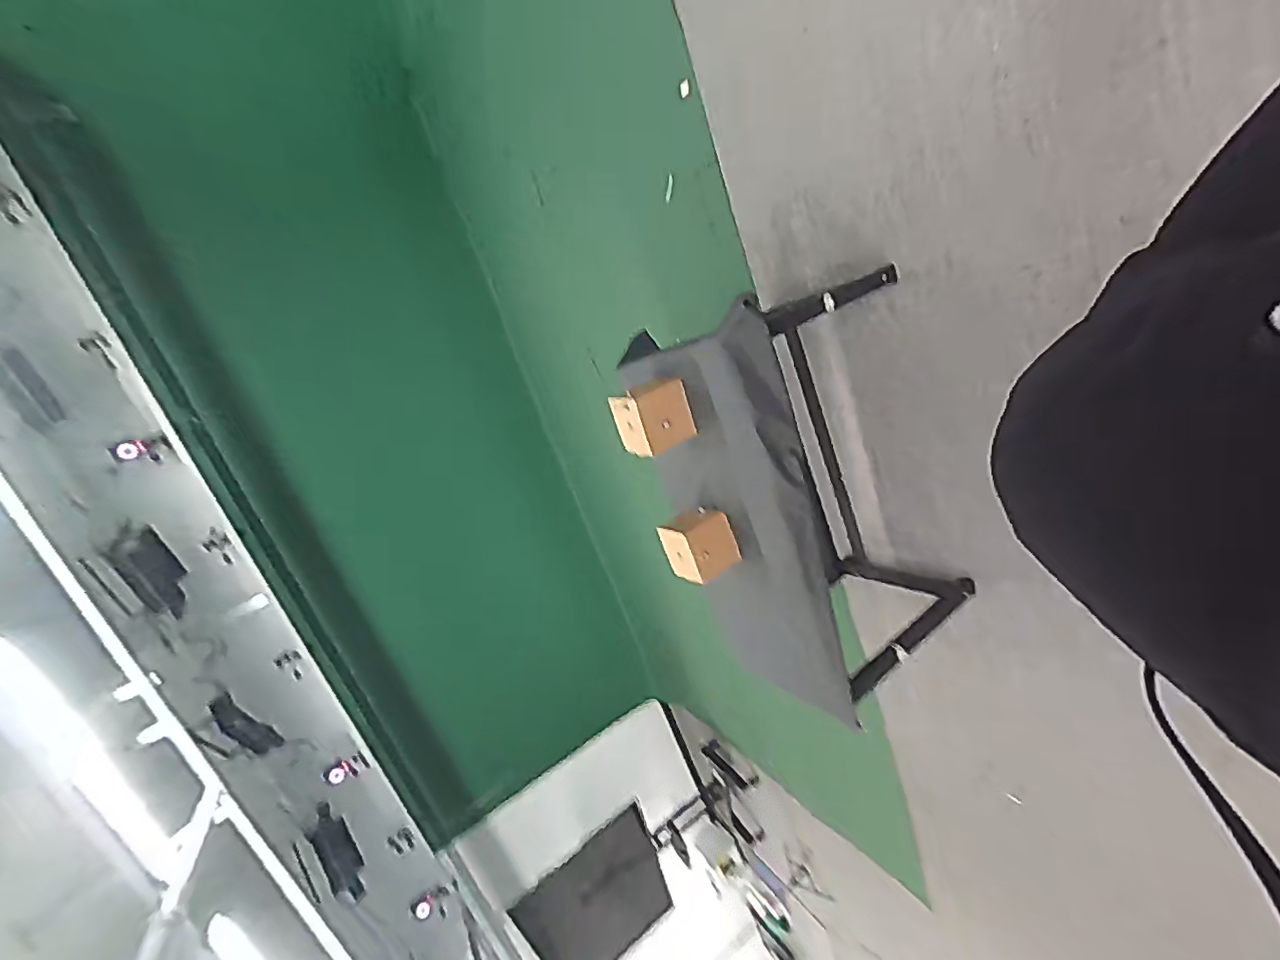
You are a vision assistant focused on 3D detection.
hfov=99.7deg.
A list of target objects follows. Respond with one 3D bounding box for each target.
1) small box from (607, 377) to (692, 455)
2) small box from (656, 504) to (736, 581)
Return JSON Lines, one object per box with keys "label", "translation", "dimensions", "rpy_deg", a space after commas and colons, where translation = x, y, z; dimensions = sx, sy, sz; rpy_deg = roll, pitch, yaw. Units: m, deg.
{"label": "small box", "translation": [0.034, -0.196, 1.620], "dimensions": [0.168, 0.176, 0.179], "rpy_deg": [16, 130, 58]}
{"label": "small box", "translation": [0.185, 0.196, 1.740], "dimensions": [0.168, 0.176, 0.179], "rpy_deg": [4, 118, 61]}
